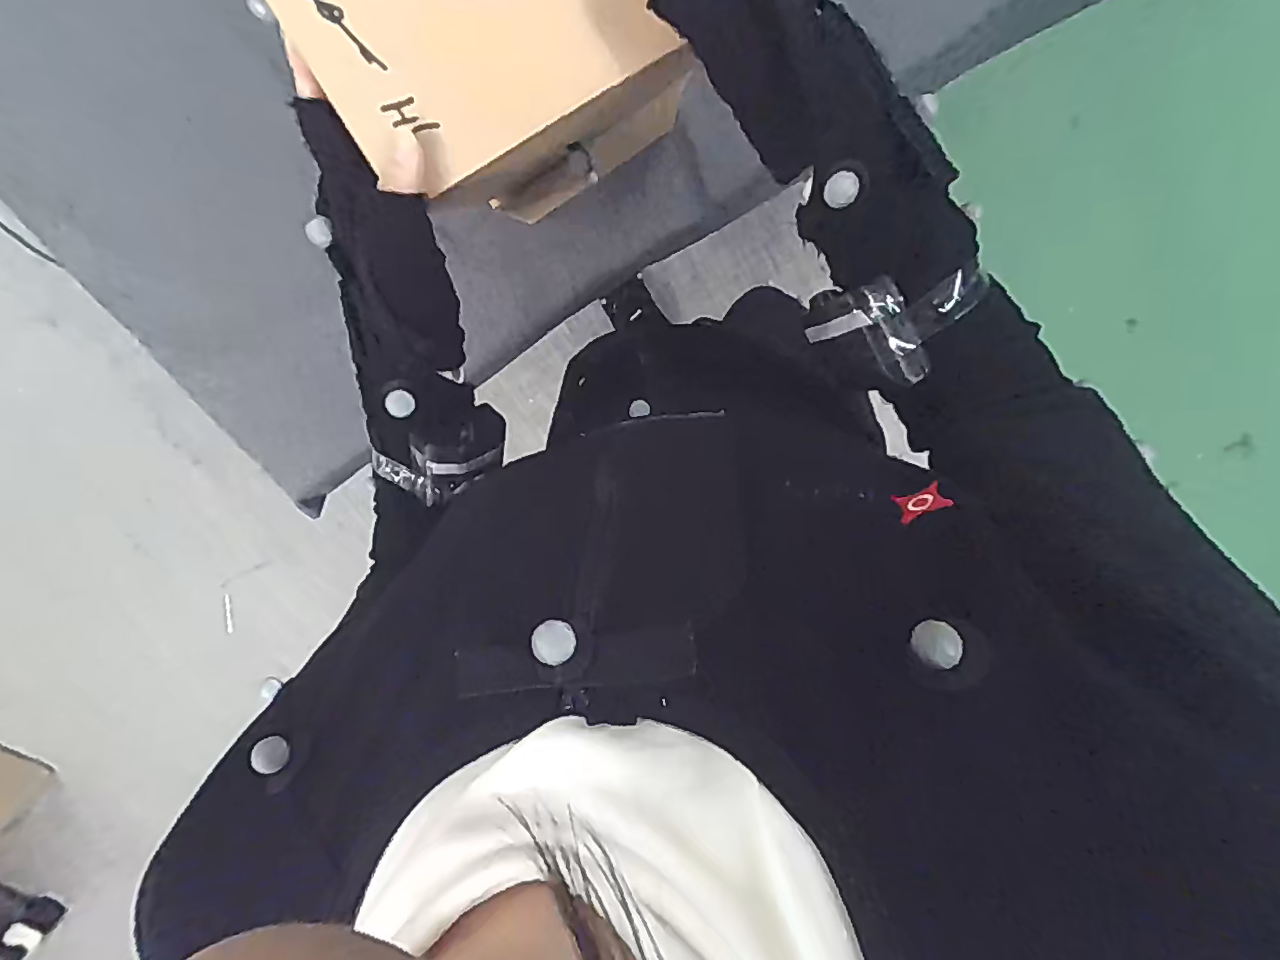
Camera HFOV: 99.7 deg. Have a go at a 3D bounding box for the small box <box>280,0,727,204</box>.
[{"bbox_3d":[-0.078,-0.270,0.287,0.179,0.176,0.168,-25,116,9],"label":"small box"}]

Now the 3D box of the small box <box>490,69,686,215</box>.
[{"bbox_3d":[-0.080,-0.353,0.461,0.179,0.176,0.168,-29,109,11],"label":"small box"}]
